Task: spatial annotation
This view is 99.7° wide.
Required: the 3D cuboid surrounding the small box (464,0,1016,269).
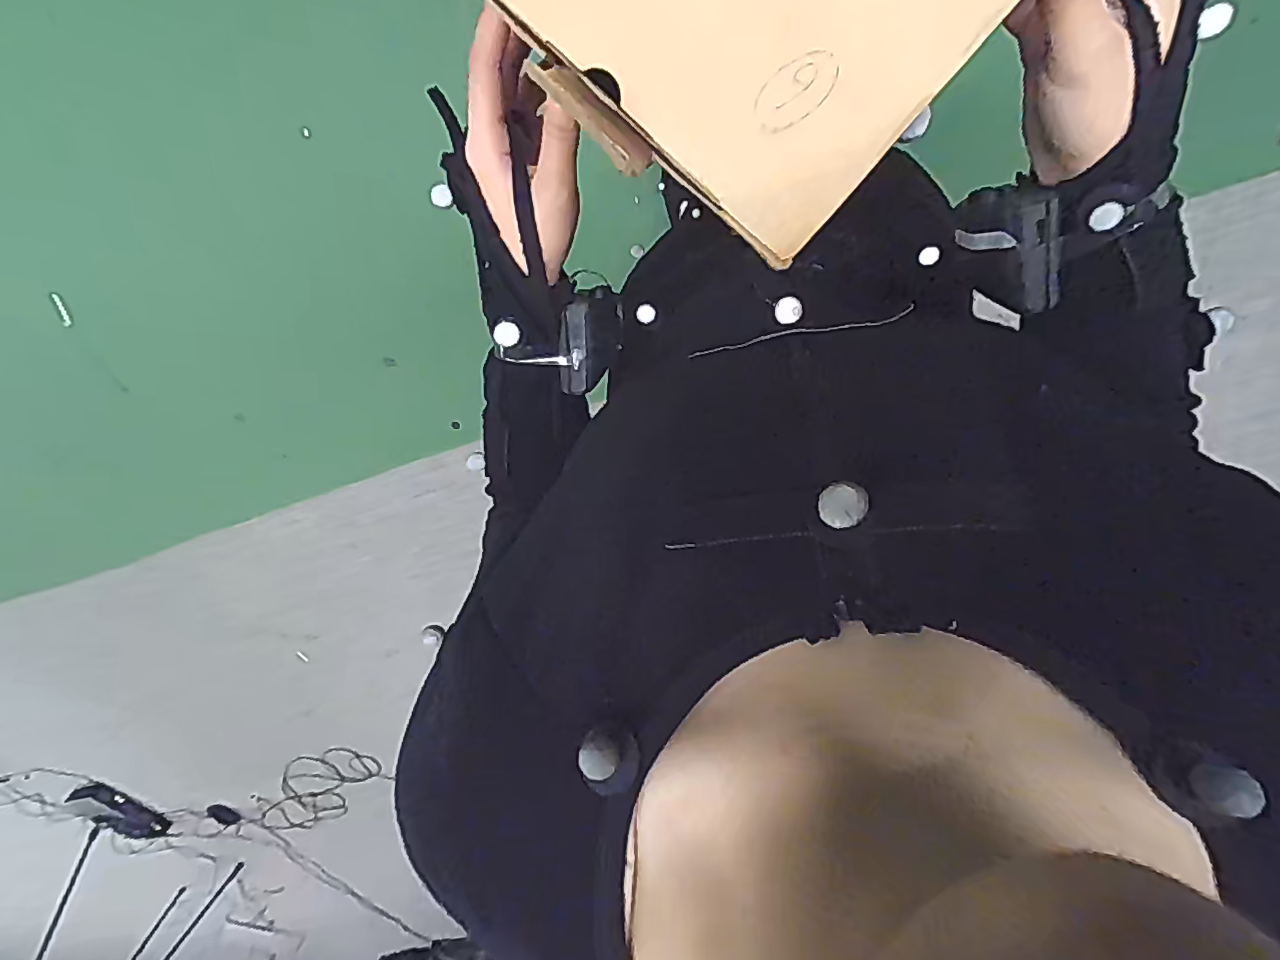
[{"bbox_3d":[0.055,-0.217,0.222,0.168,0.176,0.179,38,117,-9],"label":"small box"}]
